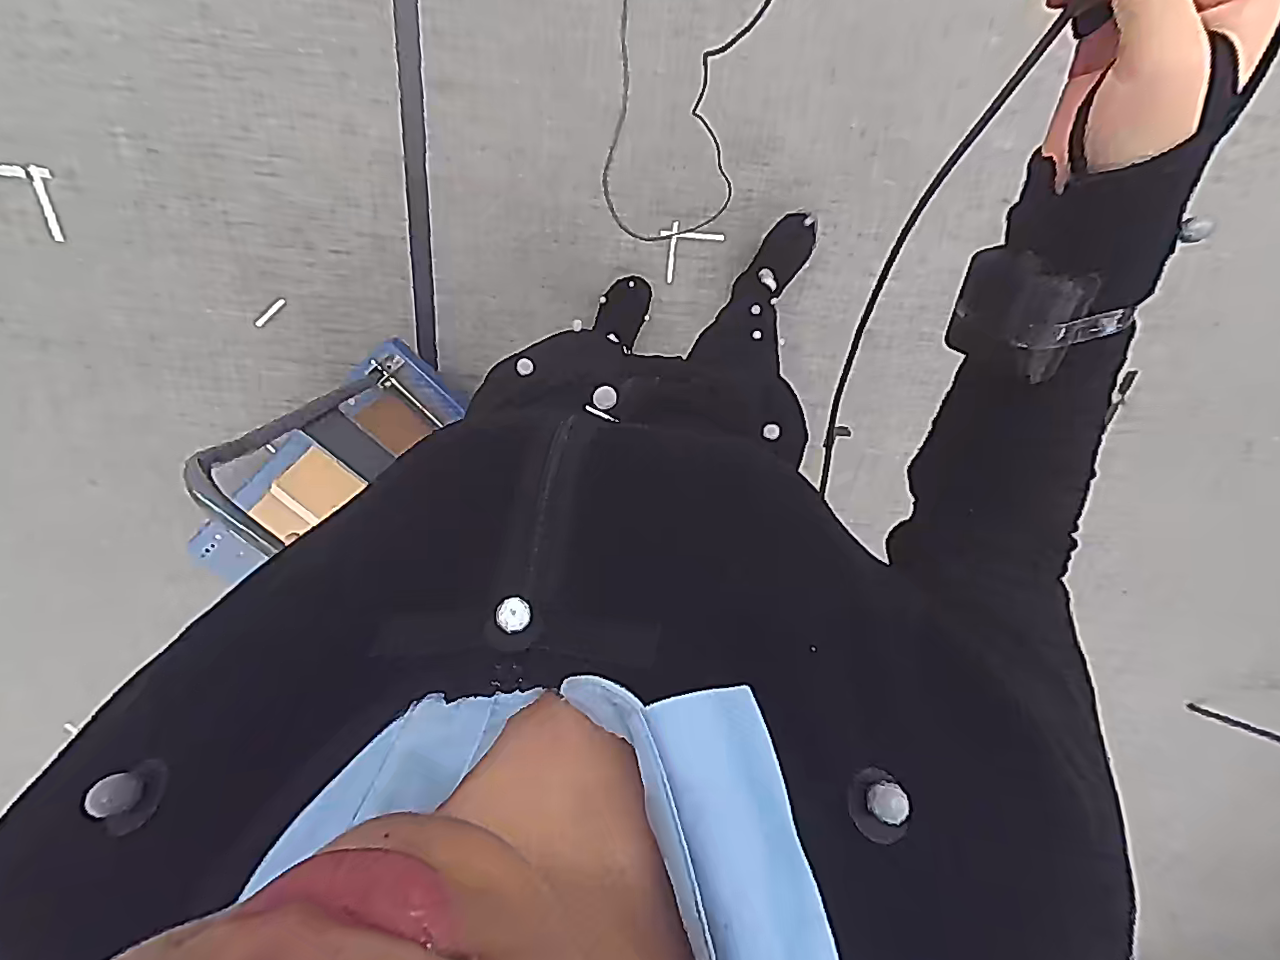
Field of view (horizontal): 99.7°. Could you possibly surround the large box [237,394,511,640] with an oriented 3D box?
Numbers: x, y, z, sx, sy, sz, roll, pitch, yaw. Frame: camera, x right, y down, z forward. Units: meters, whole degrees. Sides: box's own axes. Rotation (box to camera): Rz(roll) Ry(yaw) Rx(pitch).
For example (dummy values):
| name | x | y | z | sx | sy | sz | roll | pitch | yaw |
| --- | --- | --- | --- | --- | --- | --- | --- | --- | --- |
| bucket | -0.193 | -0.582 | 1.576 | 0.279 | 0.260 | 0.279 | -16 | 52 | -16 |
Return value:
| name | x | y | z | sx | sy | sz | roll | pitch | yaw |
| --- | --- | --- | --- | --- | --- | --- | --- | --- | --- |
| large box | -0.573 | 0.077 | 1.247 | 0.320 | 0.320 | 0.408 | -38 | 109 | 15 |
